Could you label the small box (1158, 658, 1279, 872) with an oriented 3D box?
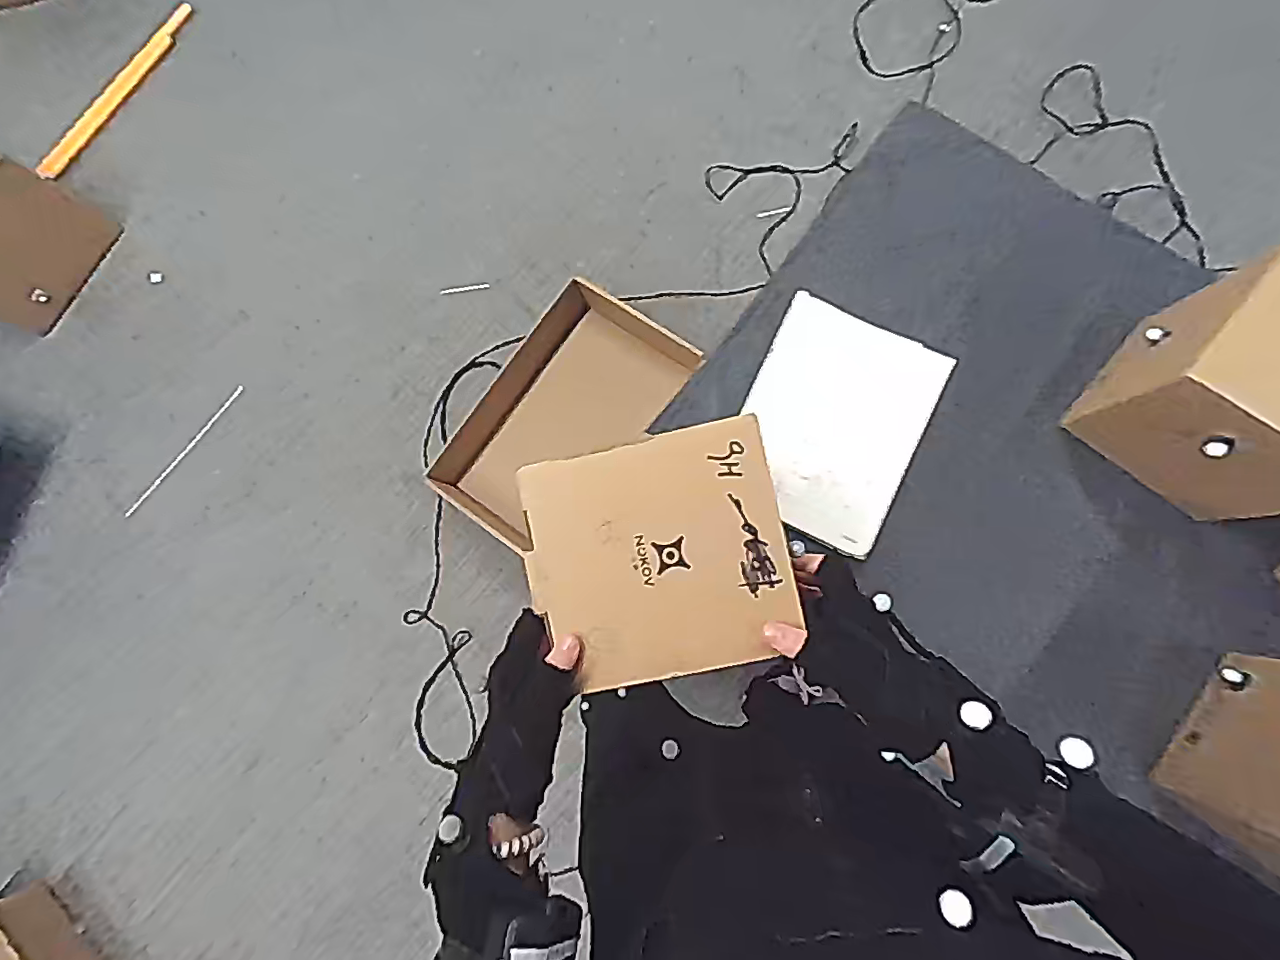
[{"bbox_3d":[0.625,0.274,0.465,0.179,0.176,0.168,37,85,9],"label":"small box"}]
